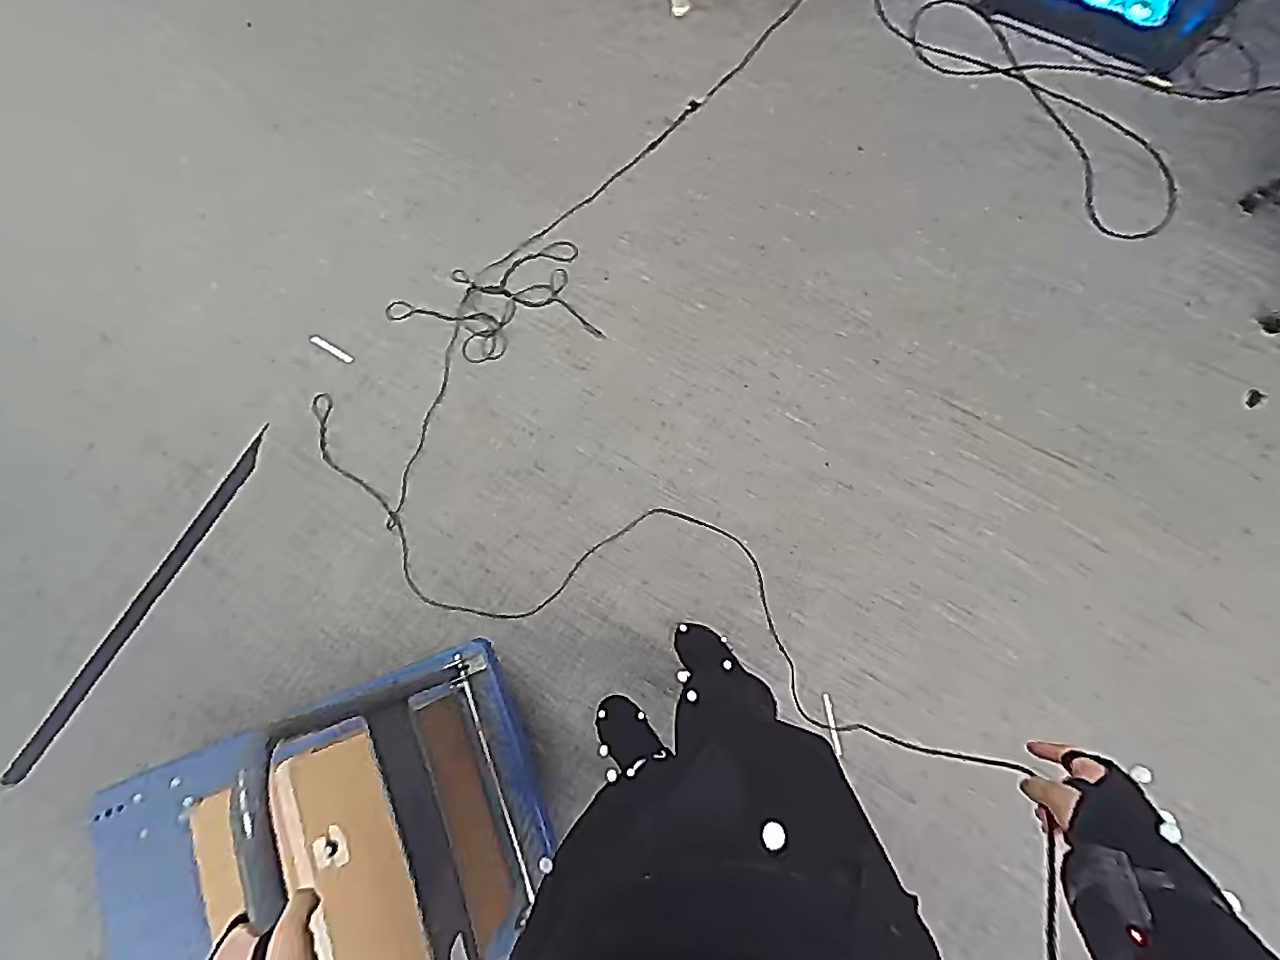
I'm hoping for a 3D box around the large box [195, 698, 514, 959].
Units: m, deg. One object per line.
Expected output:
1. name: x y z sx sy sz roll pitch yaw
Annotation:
1. large box: -0.459 0.652 0.934 0.320 0.320 0.408 -21 77 -3
